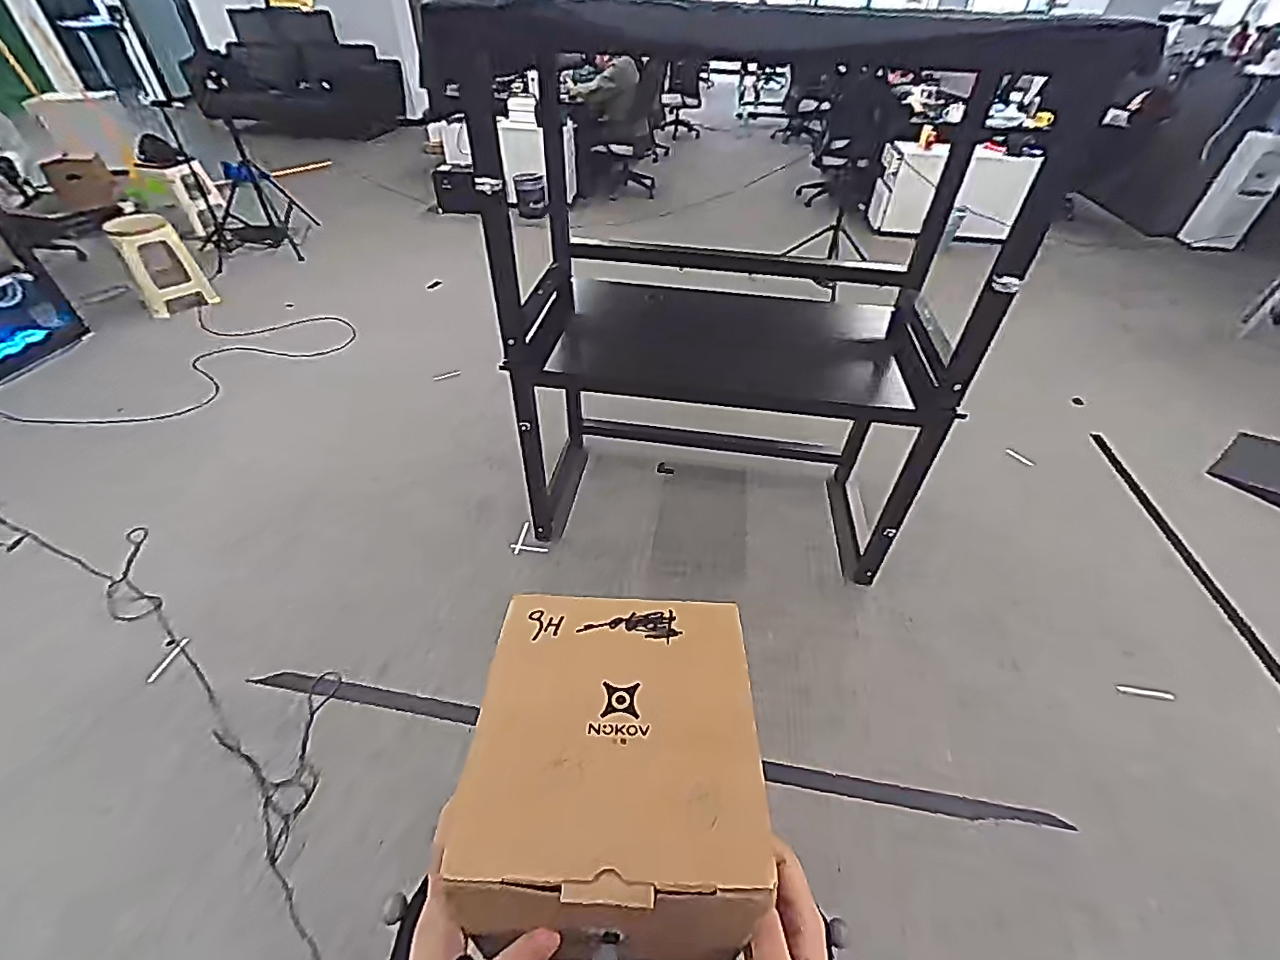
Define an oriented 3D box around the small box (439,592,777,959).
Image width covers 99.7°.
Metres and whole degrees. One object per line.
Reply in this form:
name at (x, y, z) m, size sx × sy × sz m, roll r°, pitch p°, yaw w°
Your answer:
small box at (-0.015, 0.200, 0.369) m, size 0.168 × 0.176 × 0.179 m, roll 3°, pitch 39°, yaw 0°
